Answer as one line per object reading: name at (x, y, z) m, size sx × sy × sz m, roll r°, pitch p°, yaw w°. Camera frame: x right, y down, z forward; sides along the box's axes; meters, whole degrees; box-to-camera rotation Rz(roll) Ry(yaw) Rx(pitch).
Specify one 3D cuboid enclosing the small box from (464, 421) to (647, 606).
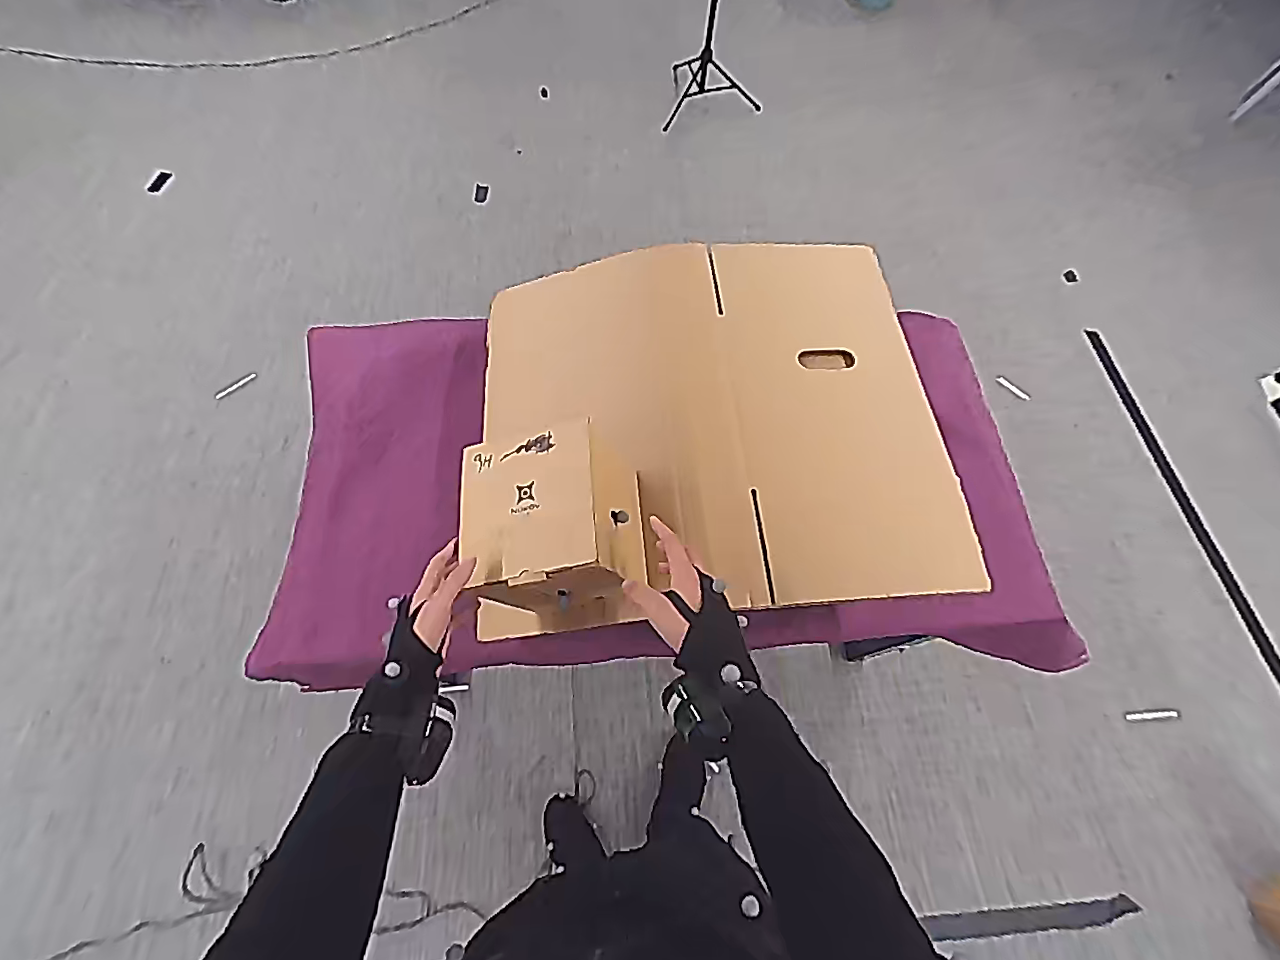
small box at (-0.097, 0.054, 0.670) m, size 0.168 × 0.176 × 0.179 m, roll -12°, pitch 66°, yaw 15°
